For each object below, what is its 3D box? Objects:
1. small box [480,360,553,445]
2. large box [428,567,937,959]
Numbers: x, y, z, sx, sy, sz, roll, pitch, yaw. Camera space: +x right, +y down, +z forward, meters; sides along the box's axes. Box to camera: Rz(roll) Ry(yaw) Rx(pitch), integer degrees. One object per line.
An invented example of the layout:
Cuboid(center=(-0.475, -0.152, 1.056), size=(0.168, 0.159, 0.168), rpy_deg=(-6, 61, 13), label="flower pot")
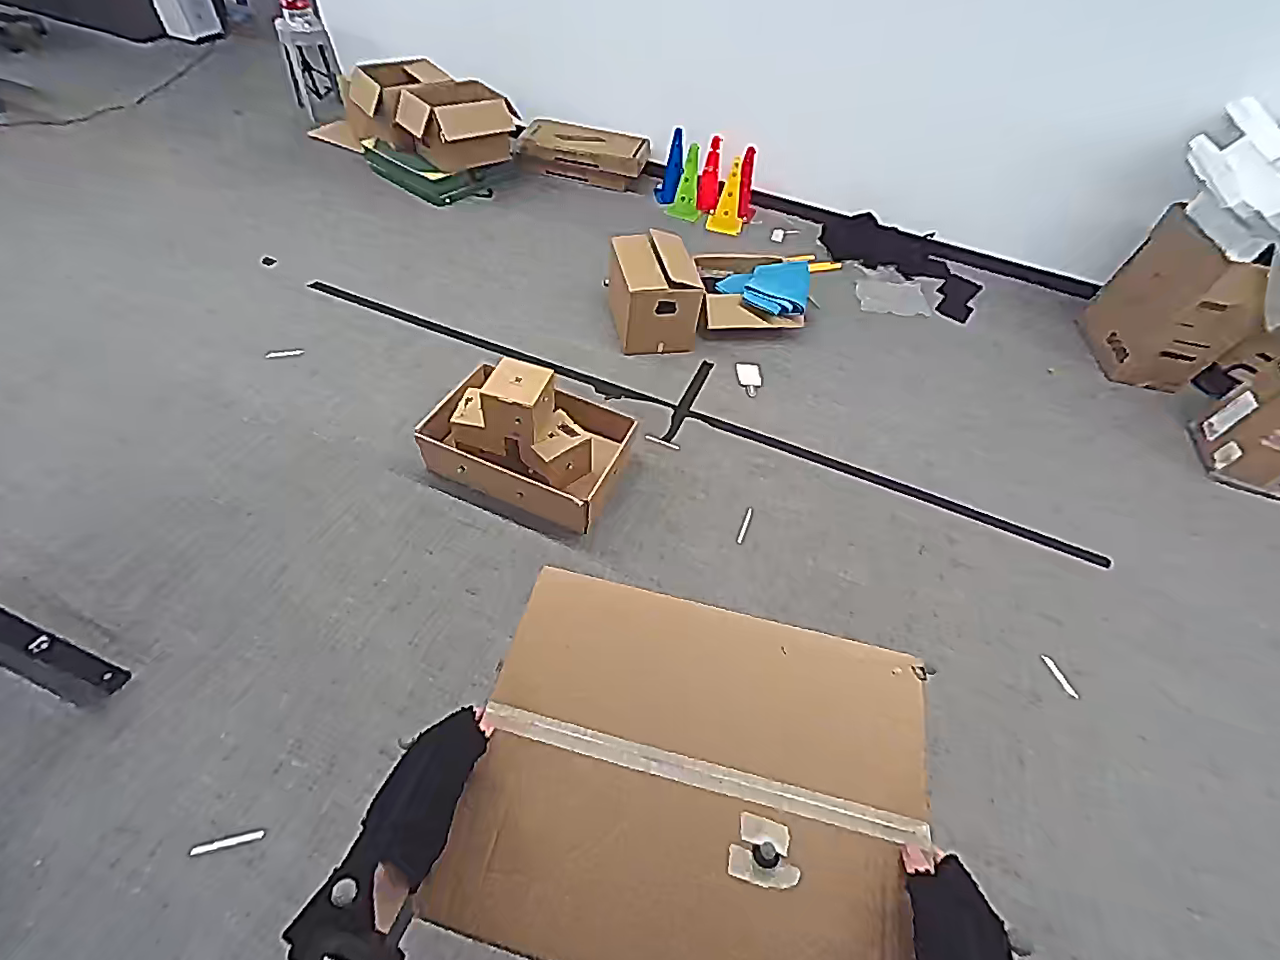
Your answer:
Cuboid(center=(-0.371, -0.236, 1.669), size=(0.168, 0.176, 0.179), rpy_deg=(16, 50, 4), label="small box")
Cuboid(center=(0.052, 0.336, 0.608), size=(0.408, 0.320, 0.320), rpy_deg=(12, 57, 7), label="large box")
